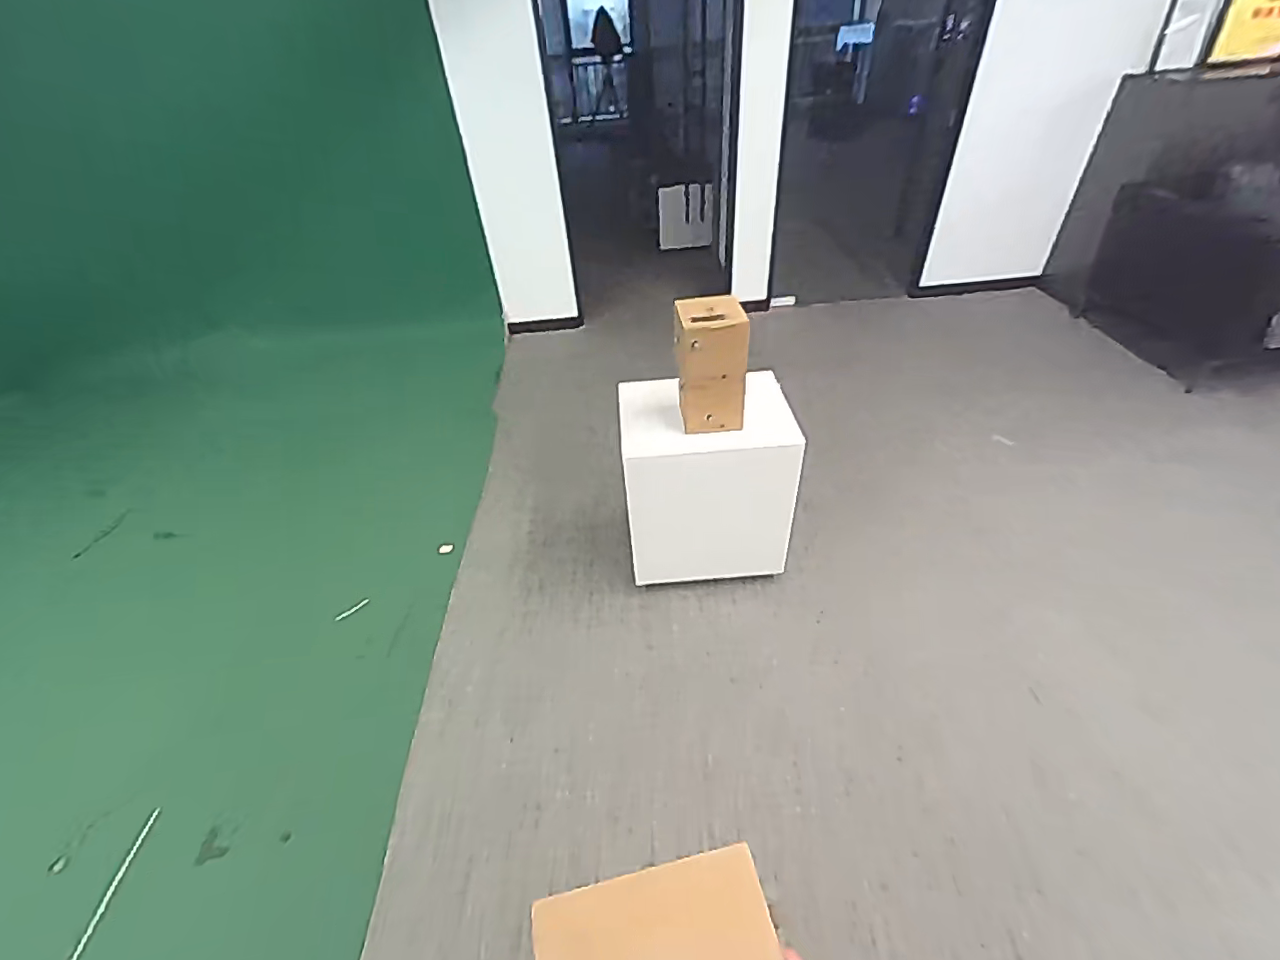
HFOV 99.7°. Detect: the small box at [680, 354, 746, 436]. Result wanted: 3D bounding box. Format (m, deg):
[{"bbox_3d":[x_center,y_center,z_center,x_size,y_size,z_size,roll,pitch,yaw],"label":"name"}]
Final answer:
[{"bbox_3d":[0.202,-0.244,1.552,0.168,0.176,0.179,-5,40,0],"label":"small box"}]
